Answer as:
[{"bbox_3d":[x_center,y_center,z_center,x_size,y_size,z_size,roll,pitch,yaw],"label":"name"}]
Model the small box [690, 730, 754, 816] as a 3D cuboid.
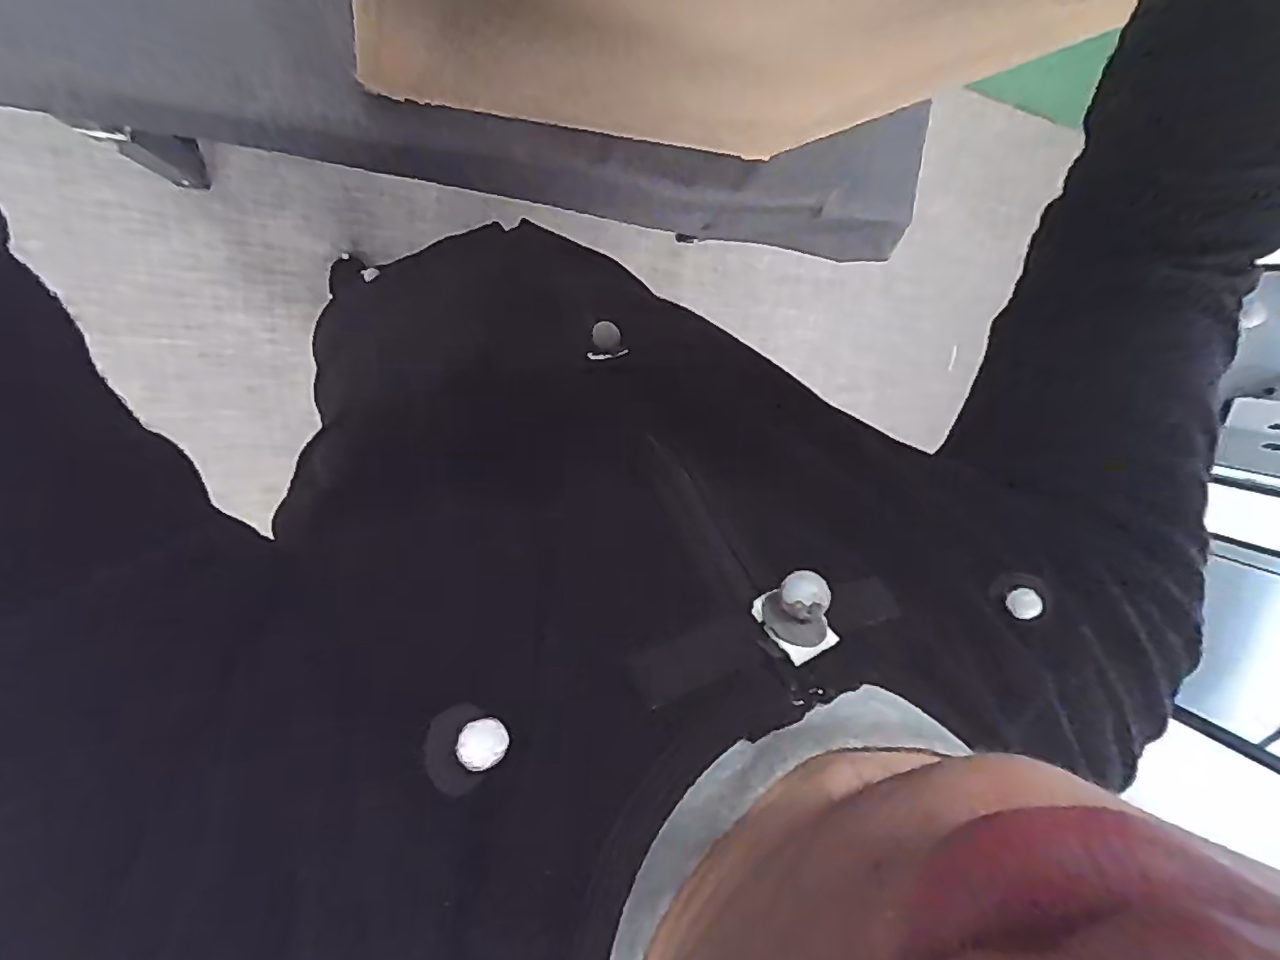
[{"bbox_3d":[0.293,1.044,1.939,0.168,0.176,0.179,-16,113,-19],"label":"small box"}]
